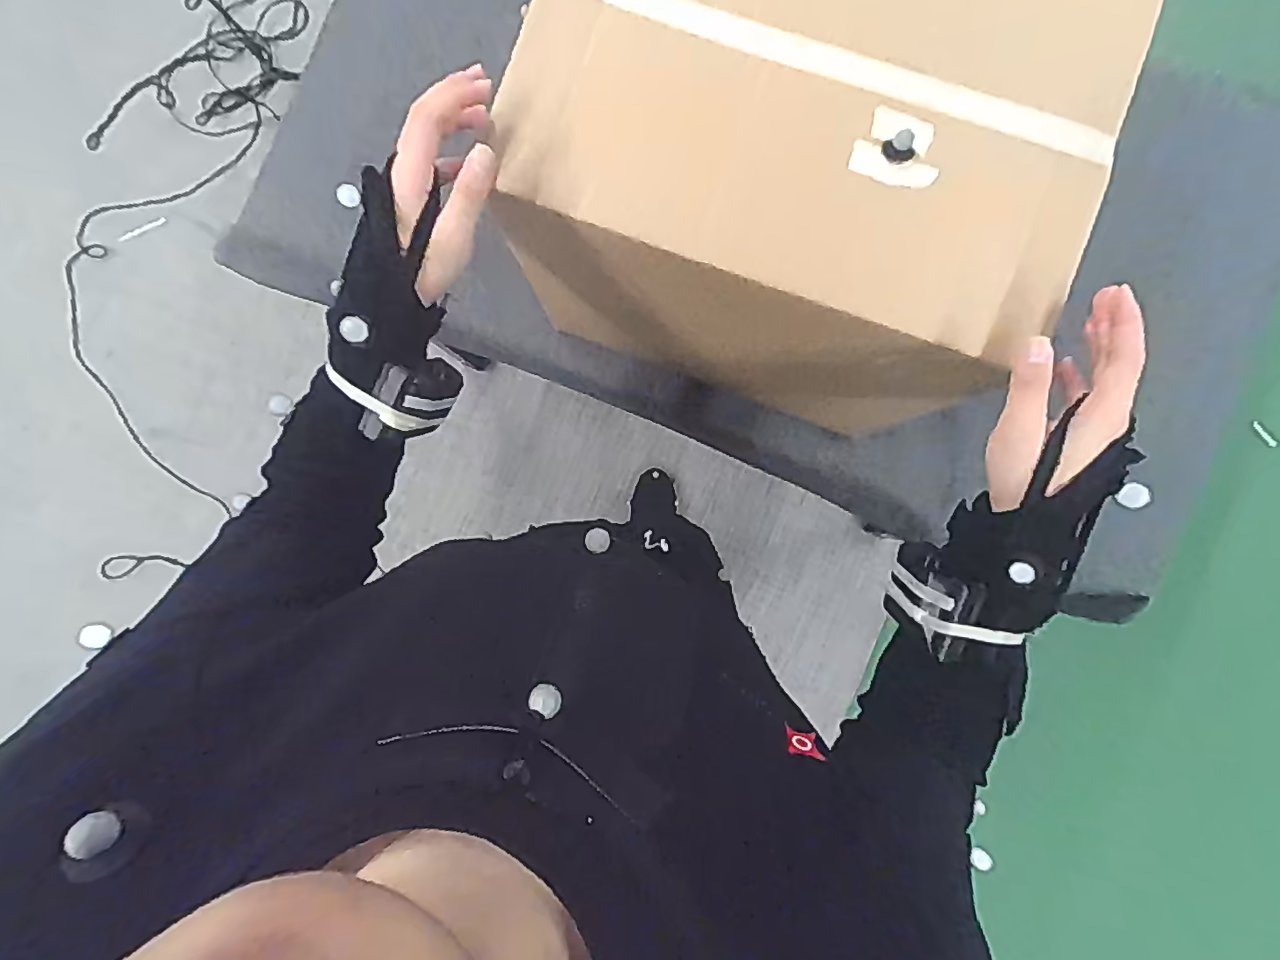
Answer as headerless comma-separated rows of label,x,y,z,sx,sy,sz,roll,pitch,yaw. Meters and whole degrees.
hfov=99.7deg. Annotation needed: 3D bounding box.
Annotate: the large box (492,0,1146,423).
large box,0.128,-0.281,0.528,0.408,0.320,0.320,20,88,1
